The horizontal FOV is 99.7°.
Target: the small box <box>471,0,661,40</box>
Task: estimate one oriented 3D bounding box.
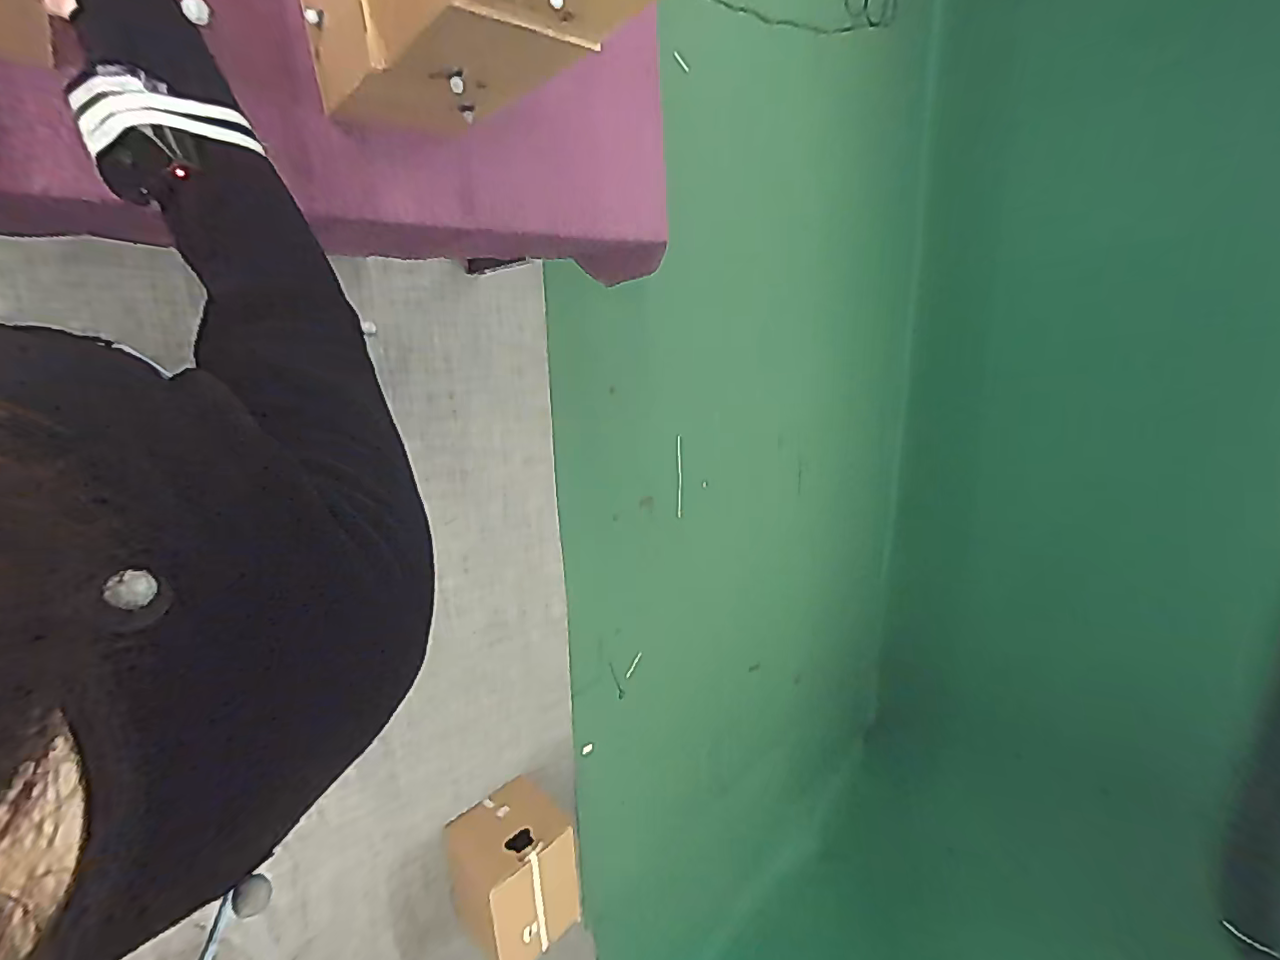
[{"bbox_3d":[-0.052,-0.492,0.418,0.168,0.176,0.179,-22,115,-39],"label":"small box"}]

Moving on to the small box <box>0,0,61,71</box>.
[{"bbox_3d":[-0.560,-0.444,0.389,0.168,0.176,0.179,-17,111,-41],"label":"small box"}]

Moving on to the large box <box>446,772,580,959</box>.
[{"bbox_3d":[-0.431,1.323,1.858,0.320,0.320,0.408,-17,112,-42],"label":"large box"}]

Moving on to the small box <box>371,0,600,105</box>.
[{"bbox_3d":[-0.162,-0.512,0.536,0.168,0.176,0.179,-20,113,-40],"label":"small box"}]

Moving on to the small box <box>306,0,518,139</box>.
[{"bbox_3d":[-0.274,-0.535,0.652,0.179,0.176,0.168,-19,111,-41],"label":"small box"}]
